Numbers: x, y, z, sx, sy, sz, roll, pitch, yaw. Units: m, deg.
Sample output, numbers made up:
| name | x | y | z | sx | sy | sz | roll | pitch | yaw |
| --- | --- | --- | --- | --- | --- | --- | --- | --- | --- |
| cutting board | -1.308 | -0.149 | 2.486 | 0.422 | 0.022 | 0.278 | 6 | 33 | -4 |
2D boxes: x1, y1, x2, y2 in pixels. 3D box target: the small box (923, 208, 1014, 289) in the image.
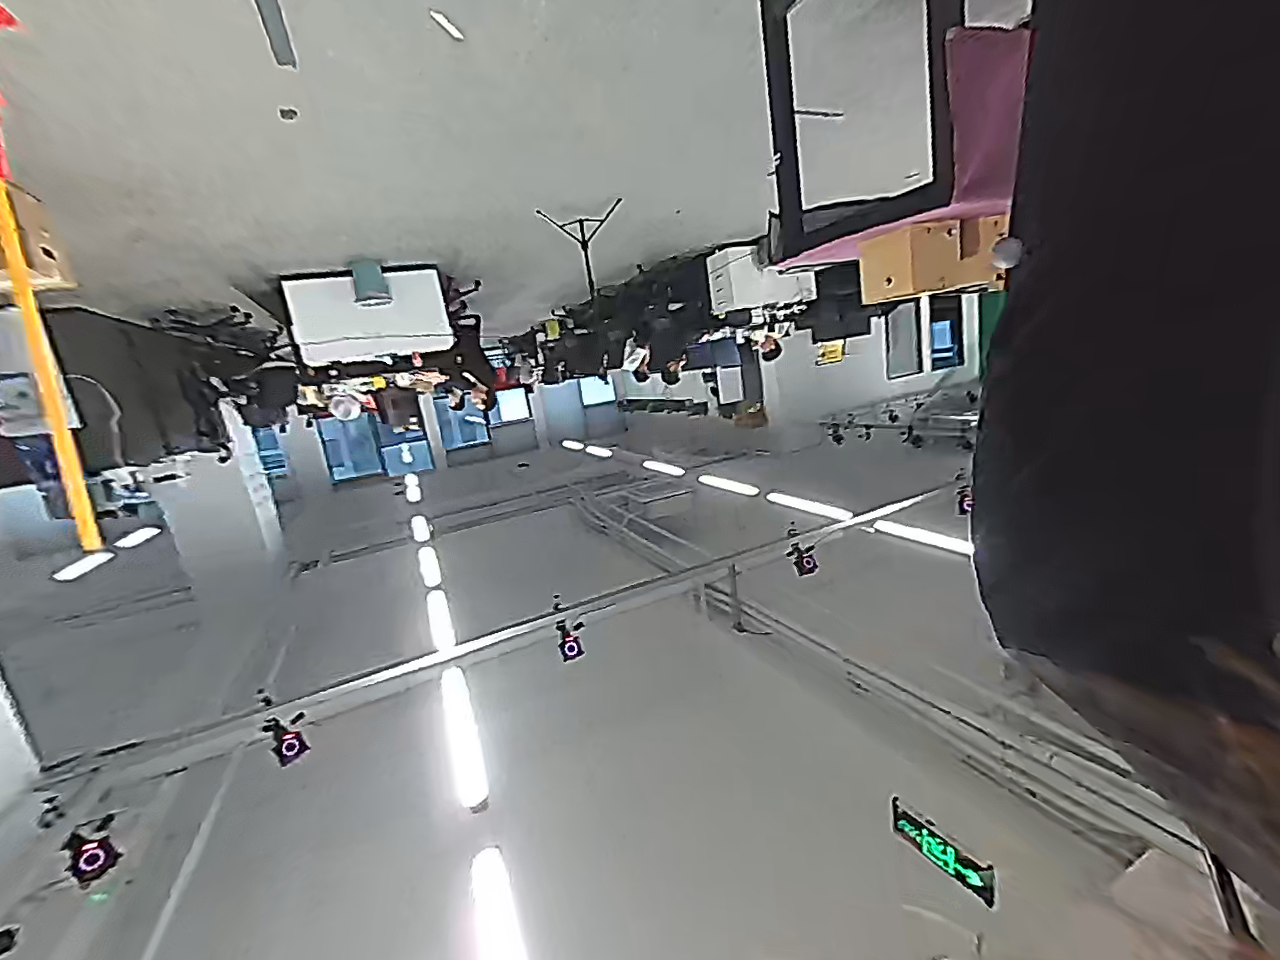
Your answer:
| name | x | y | z | sx | sy | sz | roll | pitch | yaw |
| --- | --- | --- | --- | --- | --- | --- | --- | --- | --- |
| small box | 0.892 | -0.633 | 1.484 | 0.168 | 0.176 | 0.179 | -16 | -166 | -23 |

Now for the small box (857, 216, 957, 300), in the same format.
| name | x | y | z | sx | sy | sz | roll | pitch | yaw |
| --- | --- | --- | --- | --- | --- | --- | --- | --- | --- |
| small box | 0.690 | -0.581 | 1.412 | 0.168 | 0.176 | 0.179 | -14 | -166 | -17 |
